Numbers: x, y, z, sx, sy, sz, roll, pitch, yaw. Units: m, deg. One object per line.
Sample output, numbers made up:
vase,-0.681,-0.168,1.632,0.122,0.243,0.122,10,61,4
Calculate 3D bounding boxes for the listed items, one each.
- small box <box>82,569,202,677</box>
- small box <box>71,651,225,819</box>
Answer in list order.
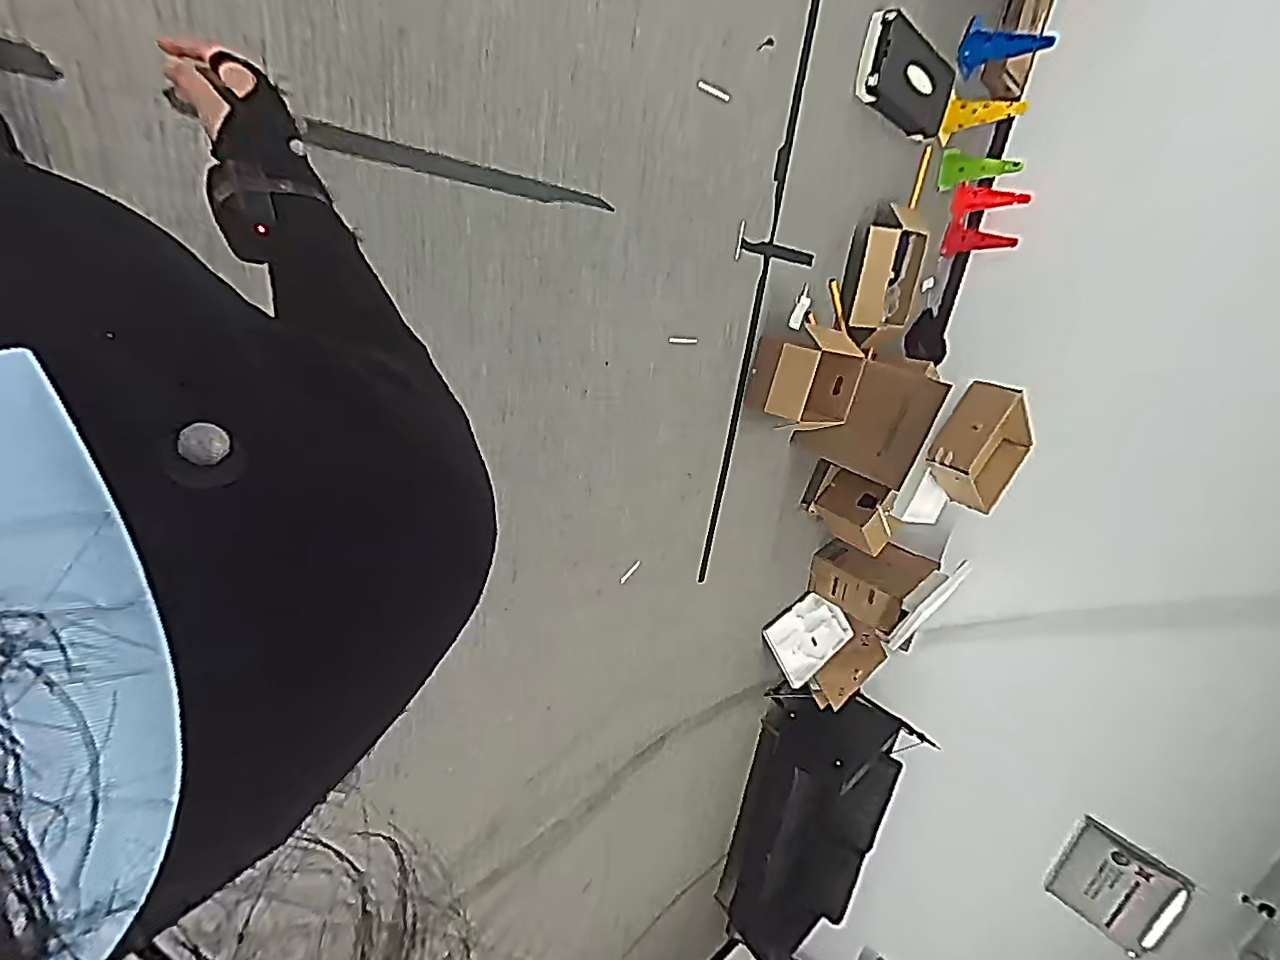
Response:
small box,-1.091,0.325,1.192,0.168,0.176,0.179,-13,119,-40
small box,-0.877,0.447,0.973,0.168,0.176,0.179,-17,121,-39
